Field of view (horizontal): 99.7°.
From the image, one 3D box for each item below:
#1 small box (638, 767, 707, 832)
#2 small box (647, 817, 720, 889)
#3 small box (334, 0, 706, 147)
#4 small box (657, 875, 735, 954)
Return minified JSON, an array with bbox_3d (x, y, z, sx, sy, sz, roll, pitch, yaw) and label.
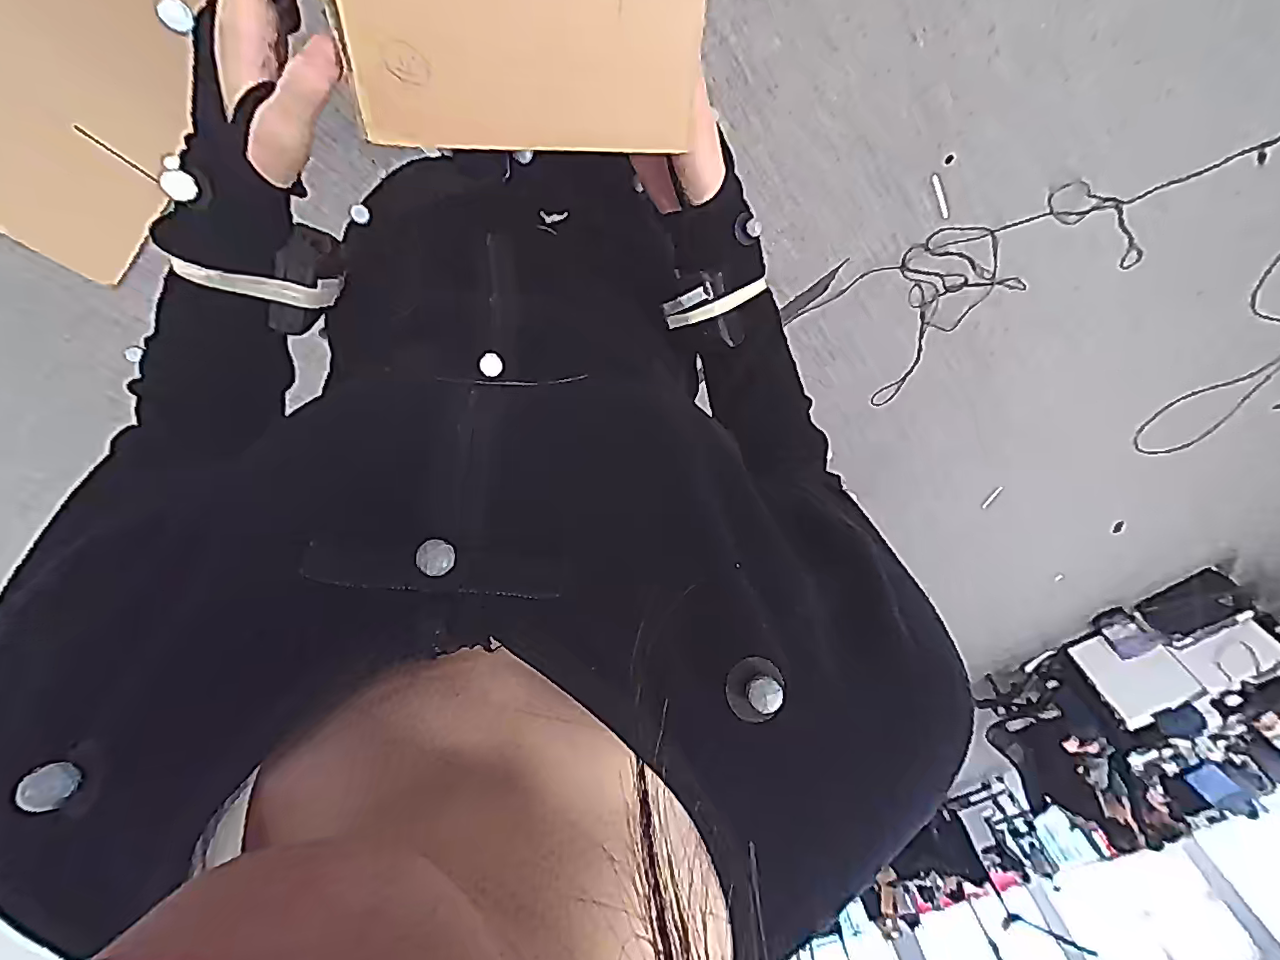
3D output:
[{"bbox_3d":[0.117,1.175,1.981,0.168,0.176,0.179,-34,133,17],"label":"small box"},{"bbox_3d":[0.148,1.286,1.864,0.168,0.176,0.179,-32,135,15],"label":"small box"},{"bbox_3d":[-0.069,-0.296,0.296,0.179,0.176,0.168,-7,134,-13],"label":"small box"},{"bbox_3d":[0.176,1.396,1.747,0.168,0.176,0.179,-32,134,15],"label":"small box"}]
